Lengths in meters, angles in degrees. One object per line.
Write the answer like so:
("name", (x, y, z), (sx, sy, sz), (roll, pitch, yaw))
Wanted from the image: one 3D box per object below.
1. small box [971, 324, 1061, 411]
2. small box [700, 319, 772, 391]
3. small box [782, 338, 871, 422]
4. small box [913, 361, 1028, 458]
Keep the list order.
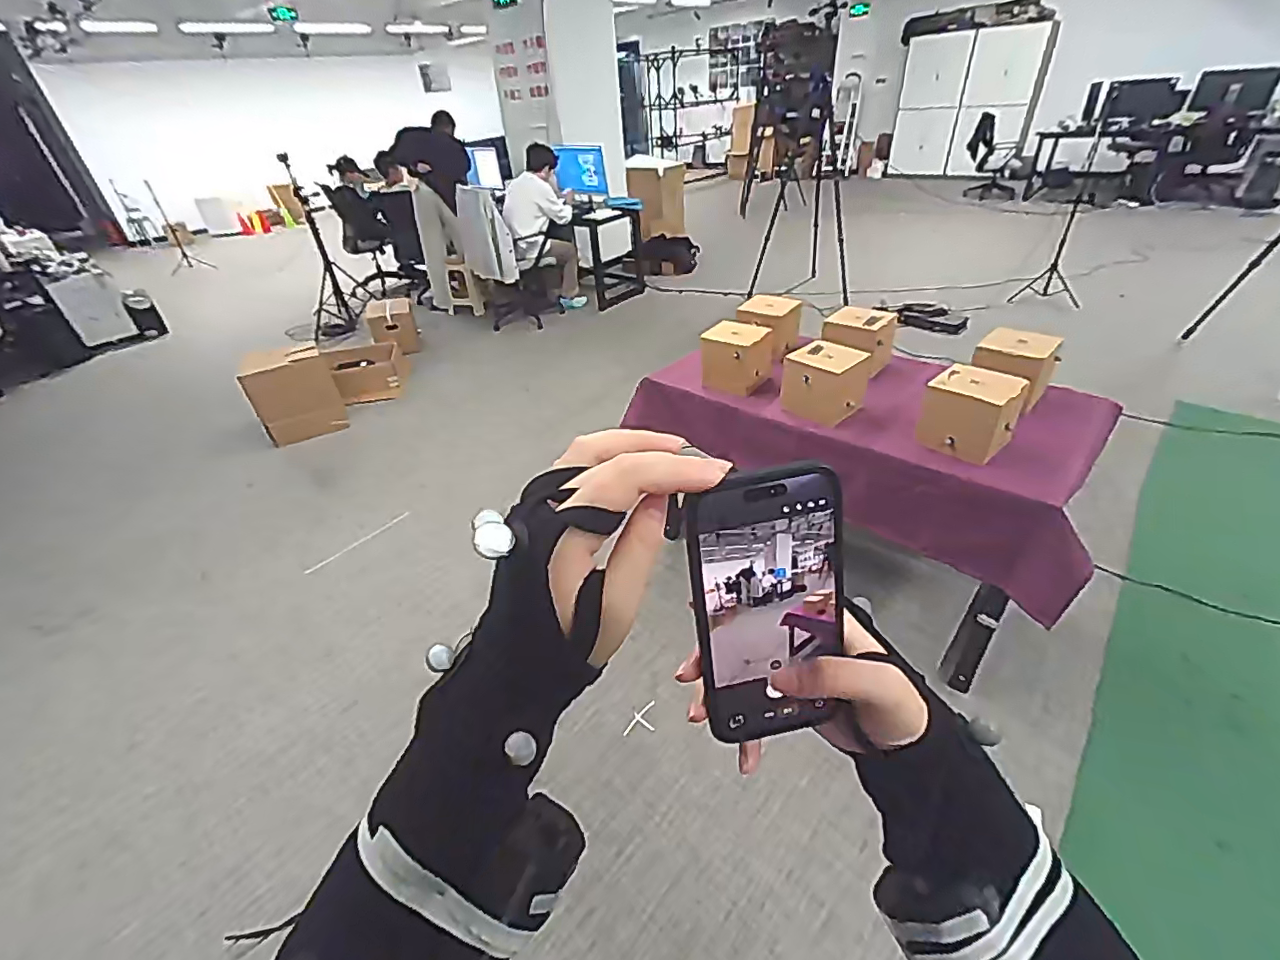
("small box", (1.045, -0.319, 1.531), (0.179, 0.176, 0.168), (-33, 44, -32))
("small box", (0.305, -0.402, 1.743), (0.179, 0.176, 0.168), (21, 43, 30))
("small box", (0.528, -0.287, 1.554), (0.168, 0.176, 0.179), (-31, 44, -31))
("small box", (0.824, -0.175, 1.362), (0.168, 0.176, 0.179), (-29, 43, -30))
